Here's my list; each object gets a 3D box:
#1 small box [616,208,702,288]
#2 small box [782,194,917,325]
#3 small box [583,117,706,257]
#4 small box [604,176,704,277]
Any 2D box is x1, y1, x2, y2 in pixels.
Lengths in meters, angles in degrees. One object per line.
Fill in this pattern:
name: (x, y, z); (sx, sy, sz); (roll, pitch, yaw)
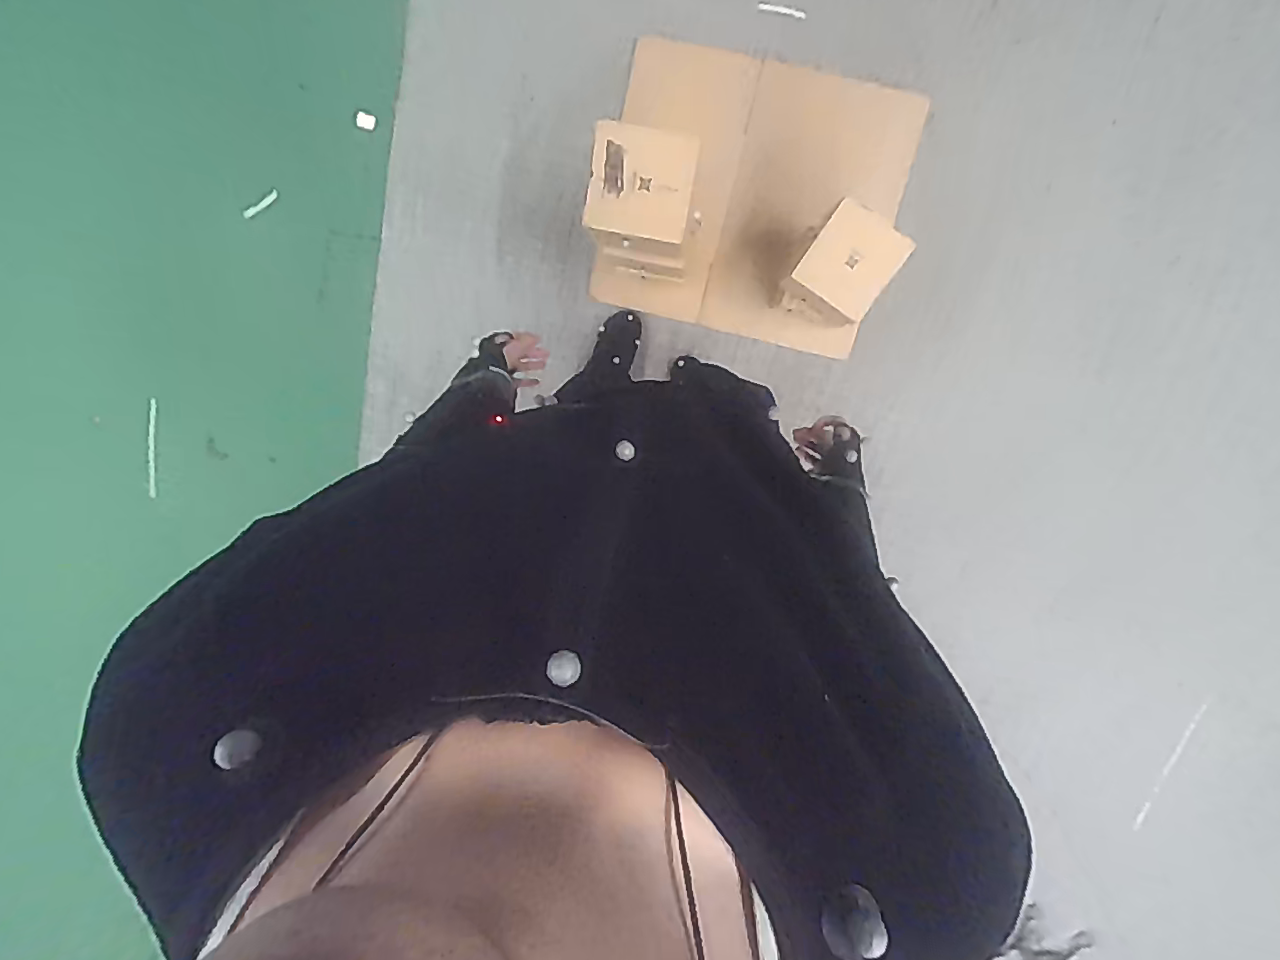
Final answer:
small box: (0.049, -0.564, 1.279); (0.168, 0.176, 0.179); (13, 104, 2)
small box: (0.413, -0.437, 1.103); (0.168, 0.176, 0.179); (34, 104, -4)
small box: (0.012, -0.505, 0.956); (0.179, 0.176, 0.168); (12, 105, 2)
small box: (0.034, -0.531, 1.118); (0.168, 0.176, 0.179); (13, 104, 1)
